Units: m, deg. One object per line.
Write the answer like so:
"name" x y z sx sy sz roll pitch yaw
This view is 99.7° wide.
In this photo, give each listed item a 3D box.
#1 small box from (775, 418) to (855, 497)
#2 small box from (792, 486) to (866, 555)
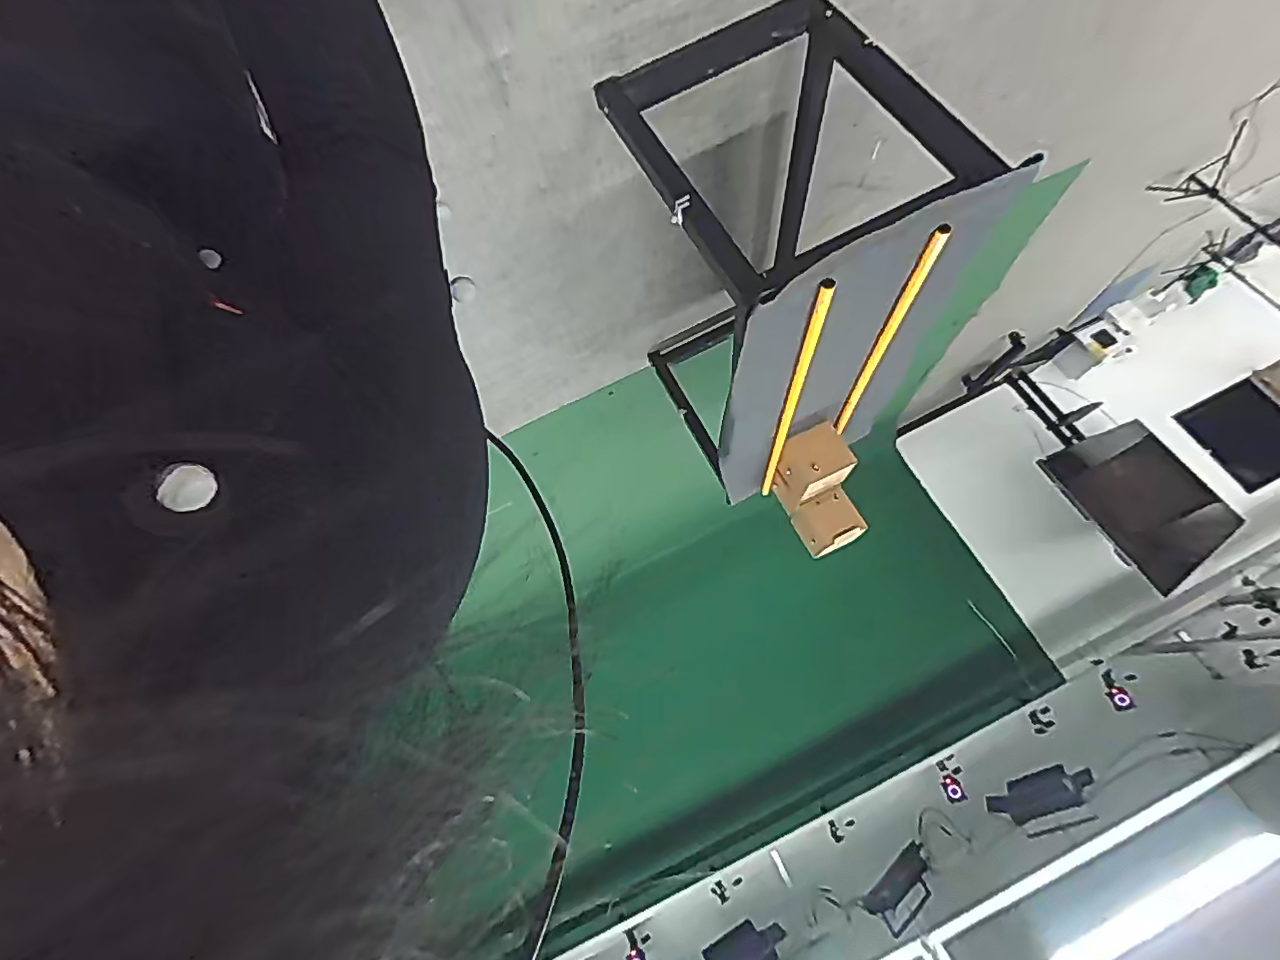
"small box" 0.567 -0.074 1.781 0.179 0.176 0.168 -26 159 -5
"small box" 0.666 0.141 1.934 0.168 0.176 0.179 -24 159 -7
